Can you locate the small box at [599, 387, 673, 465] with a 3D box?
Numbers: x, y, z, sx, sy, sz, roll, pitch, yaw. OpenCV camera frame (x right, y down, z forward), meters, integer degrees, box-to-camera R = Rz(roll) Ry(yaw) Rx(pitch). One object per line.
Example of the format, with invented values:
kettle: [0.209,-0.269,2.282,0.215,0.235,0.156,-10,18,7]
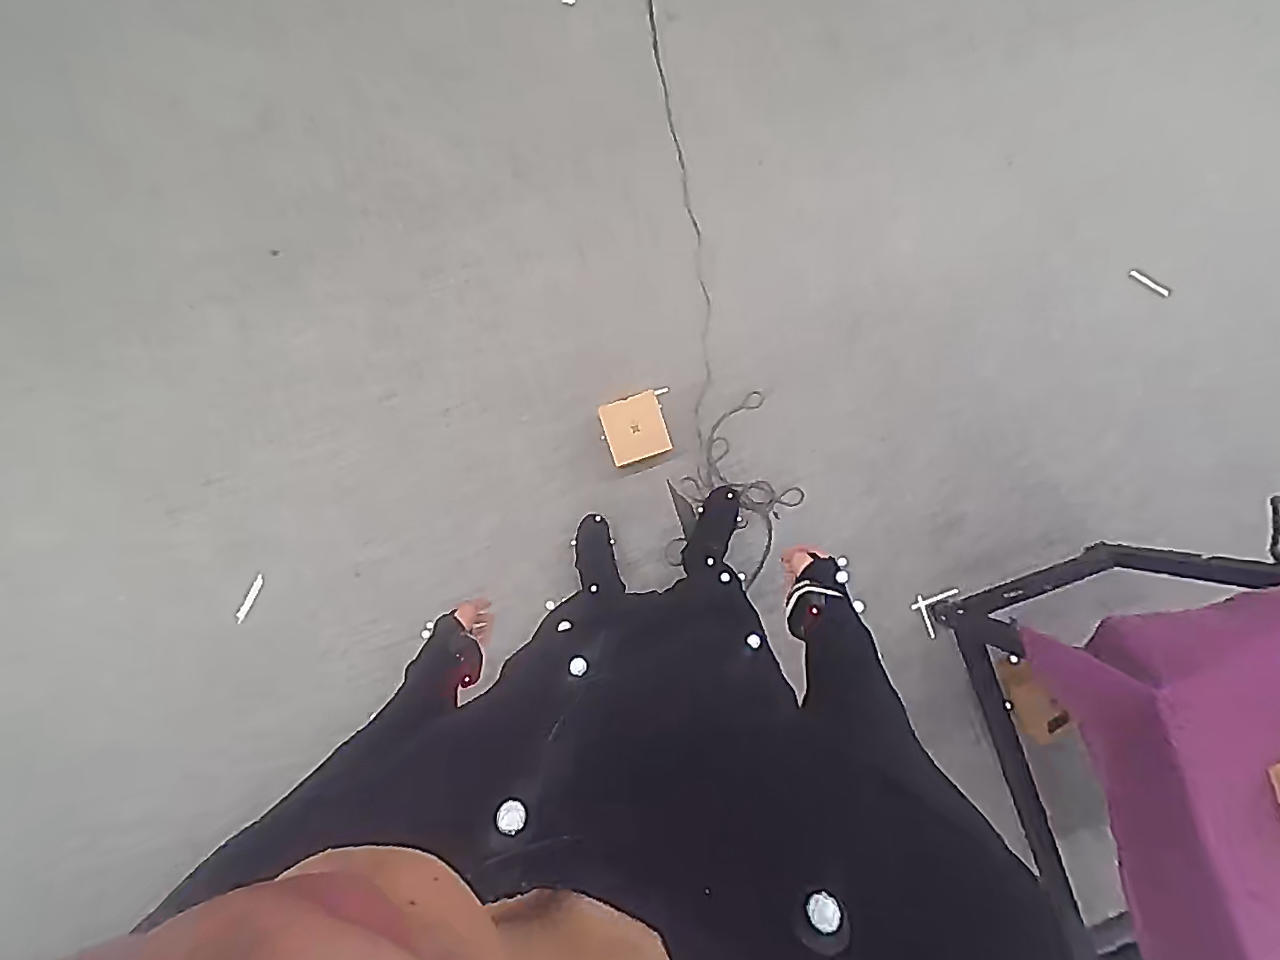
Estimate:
small box: [-0.014,-0.149,1.556,0.168,0.176,0.179,-18,90,-1]

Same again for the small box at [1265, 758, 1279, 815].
small box: [1.177,0.533,0.850,0.179,0.176,0.168,-21,90,-2]
